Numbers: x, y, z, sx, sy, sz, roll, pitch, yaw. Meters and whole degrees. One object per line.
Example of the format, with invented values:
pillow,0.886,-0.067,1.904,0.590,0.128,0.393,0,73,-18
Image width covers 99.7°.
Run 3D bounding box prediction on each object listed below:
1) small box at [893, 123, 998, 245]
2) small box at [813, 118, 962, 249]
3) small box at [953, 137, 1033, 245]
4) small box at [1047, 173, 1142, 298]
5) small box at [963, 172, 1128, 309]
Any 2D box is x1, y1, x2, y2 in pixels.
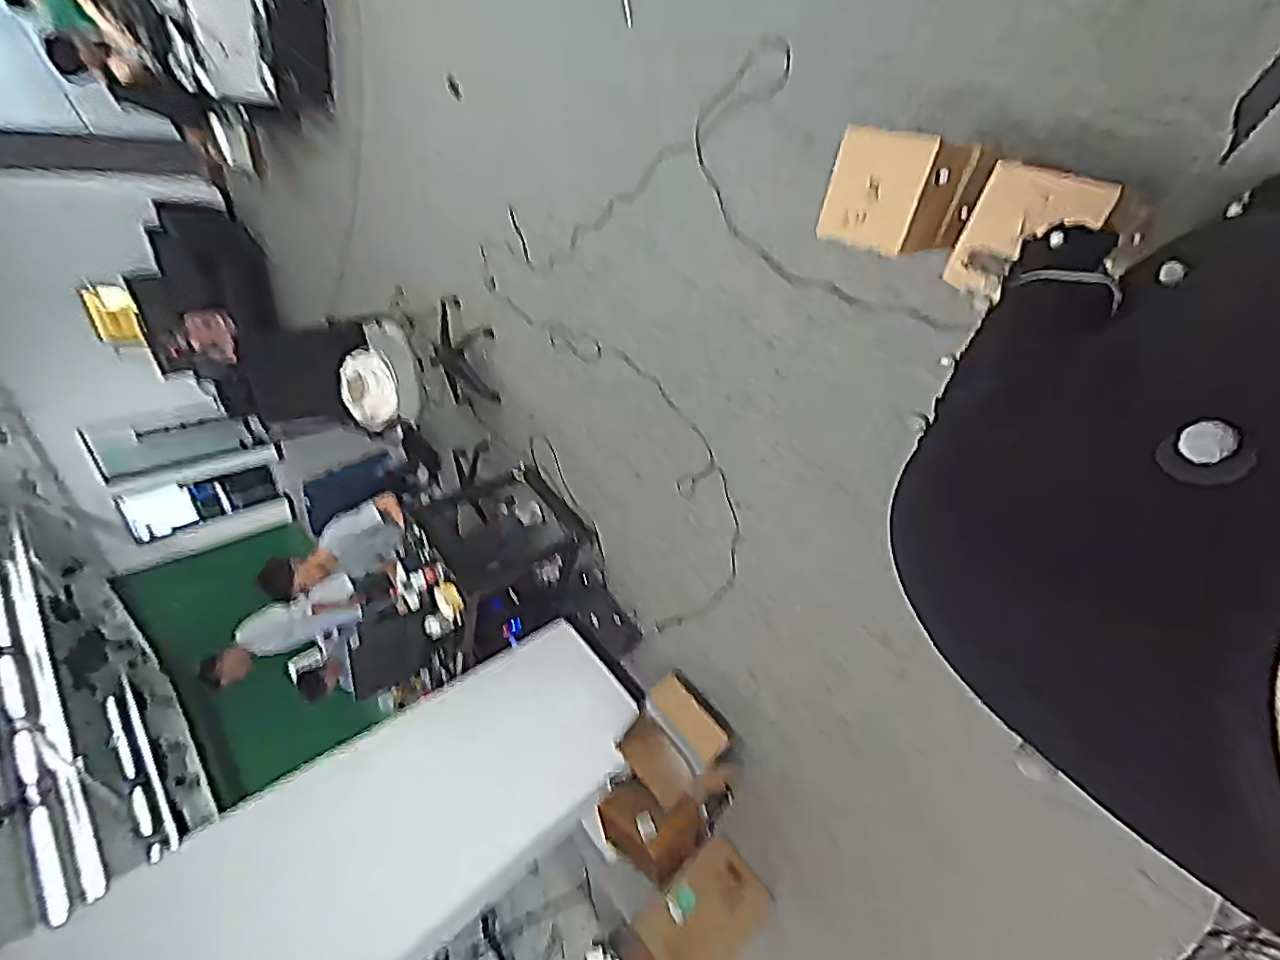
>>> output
small box,0.571,-0.584,1.076,0.168,0.176,0.179,38,132,29
small box,0.449,-0.532,0.978,0.168,0.176,0.179,35,131,32
small box,0.705,-0.625,1.166,0.168,0.176,0.179,37,132,30
small box,0.849,-0.487,1.077,0.168,0.176,0.179,43,136,26
small box,0.732,-0.432,0.976,0.168,0.176,0.179,40,133,29
